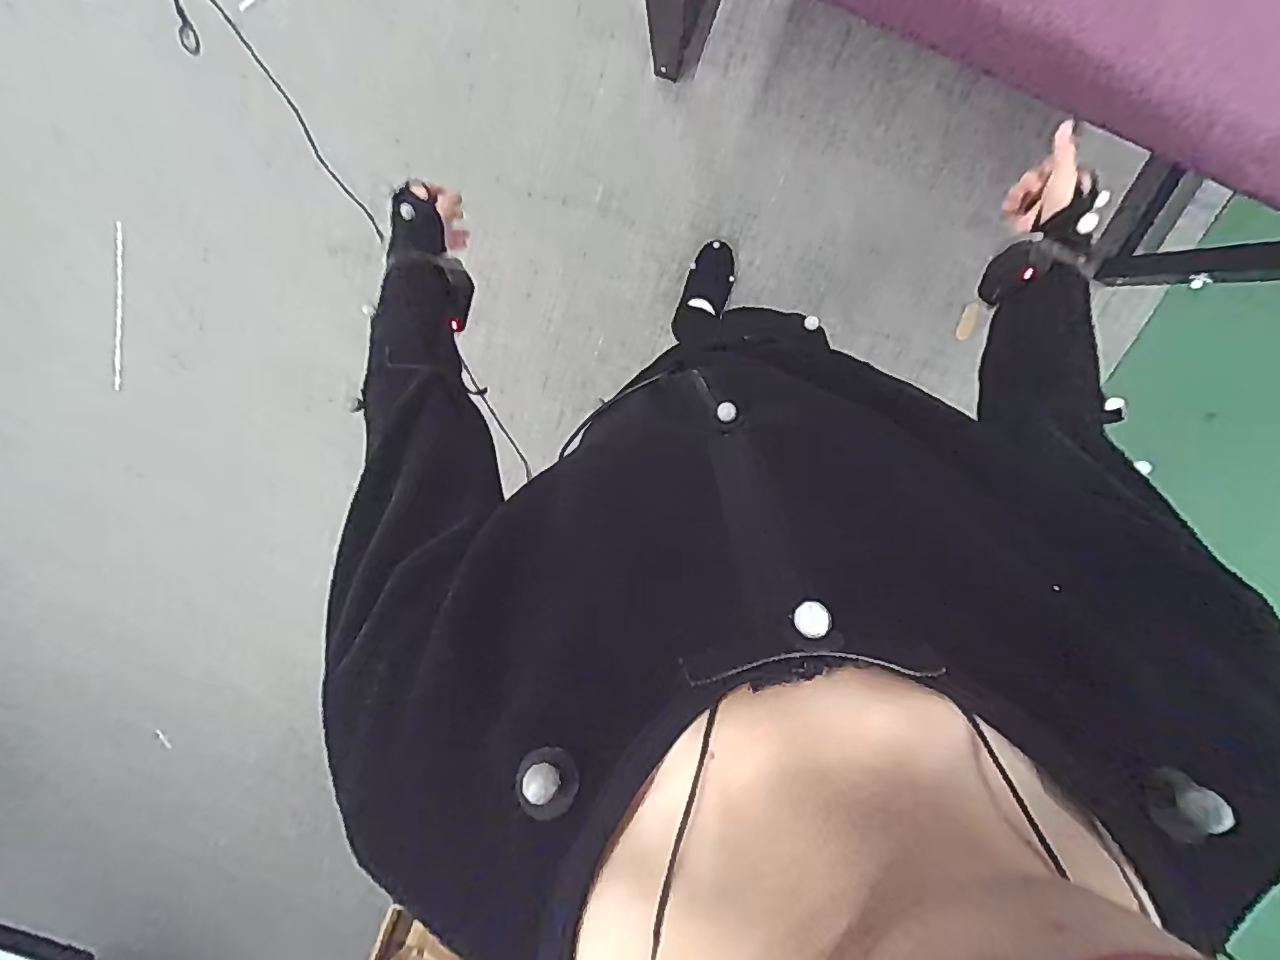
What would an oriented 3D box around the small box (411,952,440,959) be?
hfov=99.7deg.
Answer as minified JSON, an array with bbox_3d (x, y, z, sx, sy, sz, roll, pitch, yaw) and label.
[{"bbox_3d":[-0.548,1.339,1.350,0.168,0.176,0.179,28,109,-3],"label":"small box"}]

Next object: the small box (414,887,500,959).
[{"bbox_3d":[-0.514,1.294,1.504,0.168,0.176,0.179,32,108,-5],"label":"small box"}]
